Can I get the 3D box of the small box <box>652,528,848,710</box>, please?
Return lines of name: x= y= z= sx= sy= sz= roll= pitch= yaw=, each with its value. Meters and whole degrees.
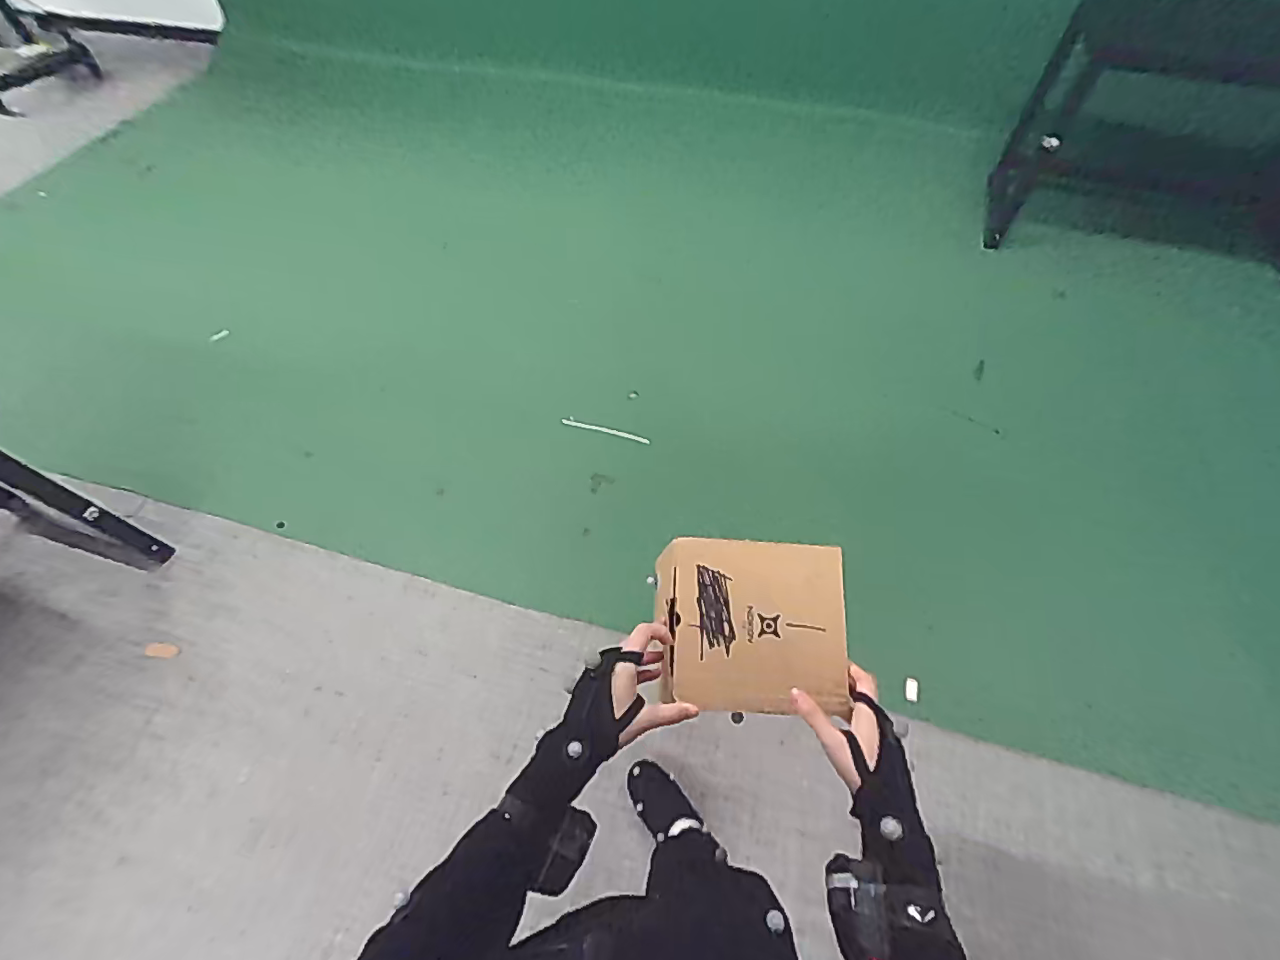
small box: x=0.108 y=0.157 z=0.604 sx=0.179 sy=0.176 sz=0.168 roll=5 pitch=72 yaw=-4
